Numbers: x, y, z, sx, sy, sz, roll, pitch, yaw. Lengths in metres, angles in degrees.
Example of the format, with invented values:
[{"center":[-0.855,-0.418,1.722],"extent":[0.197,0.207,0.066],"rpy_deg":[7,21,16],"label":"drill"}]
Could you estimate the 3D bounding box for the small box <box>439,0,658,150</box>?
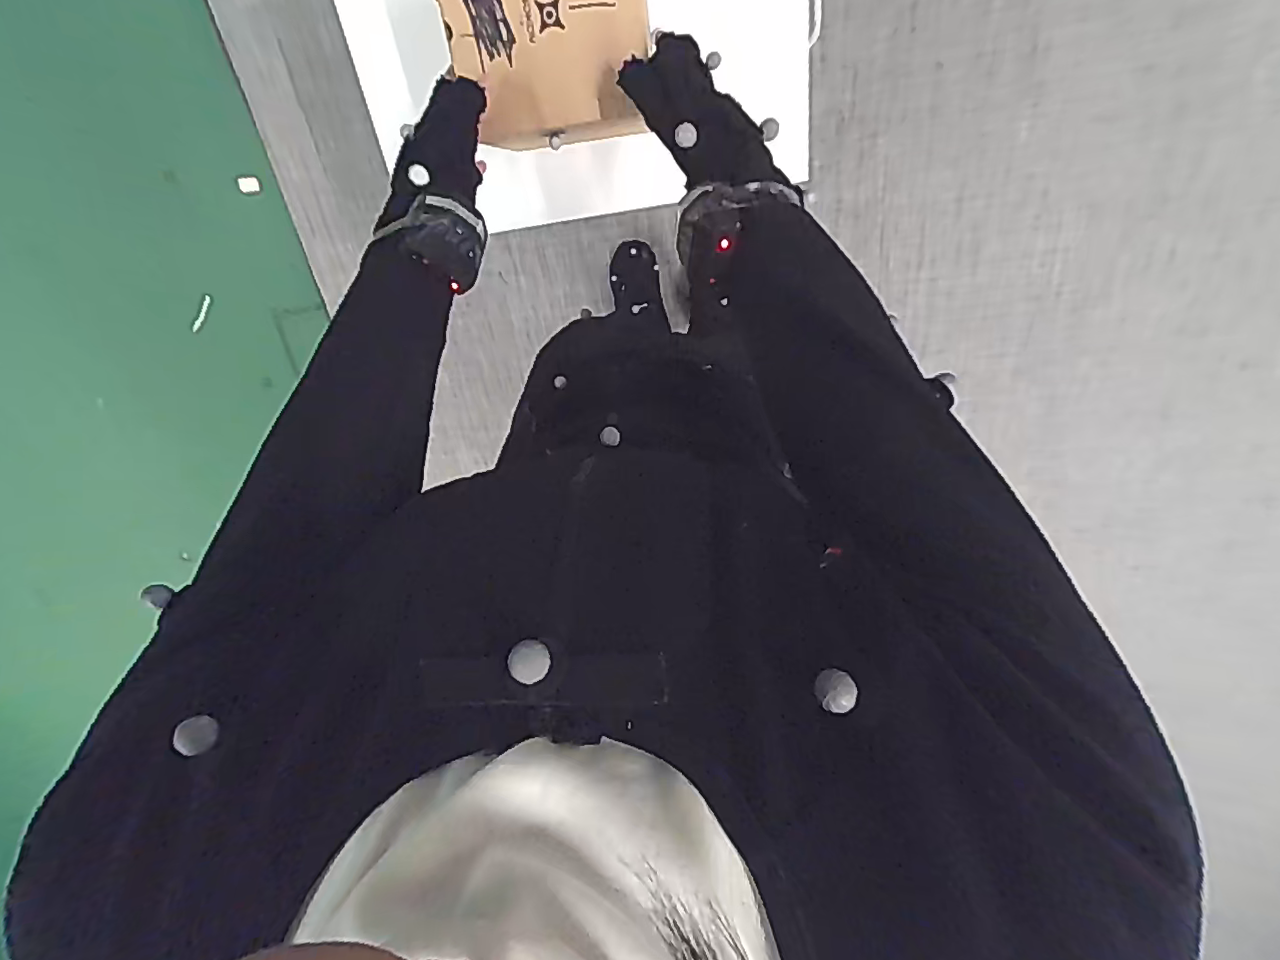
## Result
[{"center":[-0.079,-0.437,0.536],"extent":[0.179,0.176,0.168],"rpy_deg":[-4,118,7],"label":"small box"}]
